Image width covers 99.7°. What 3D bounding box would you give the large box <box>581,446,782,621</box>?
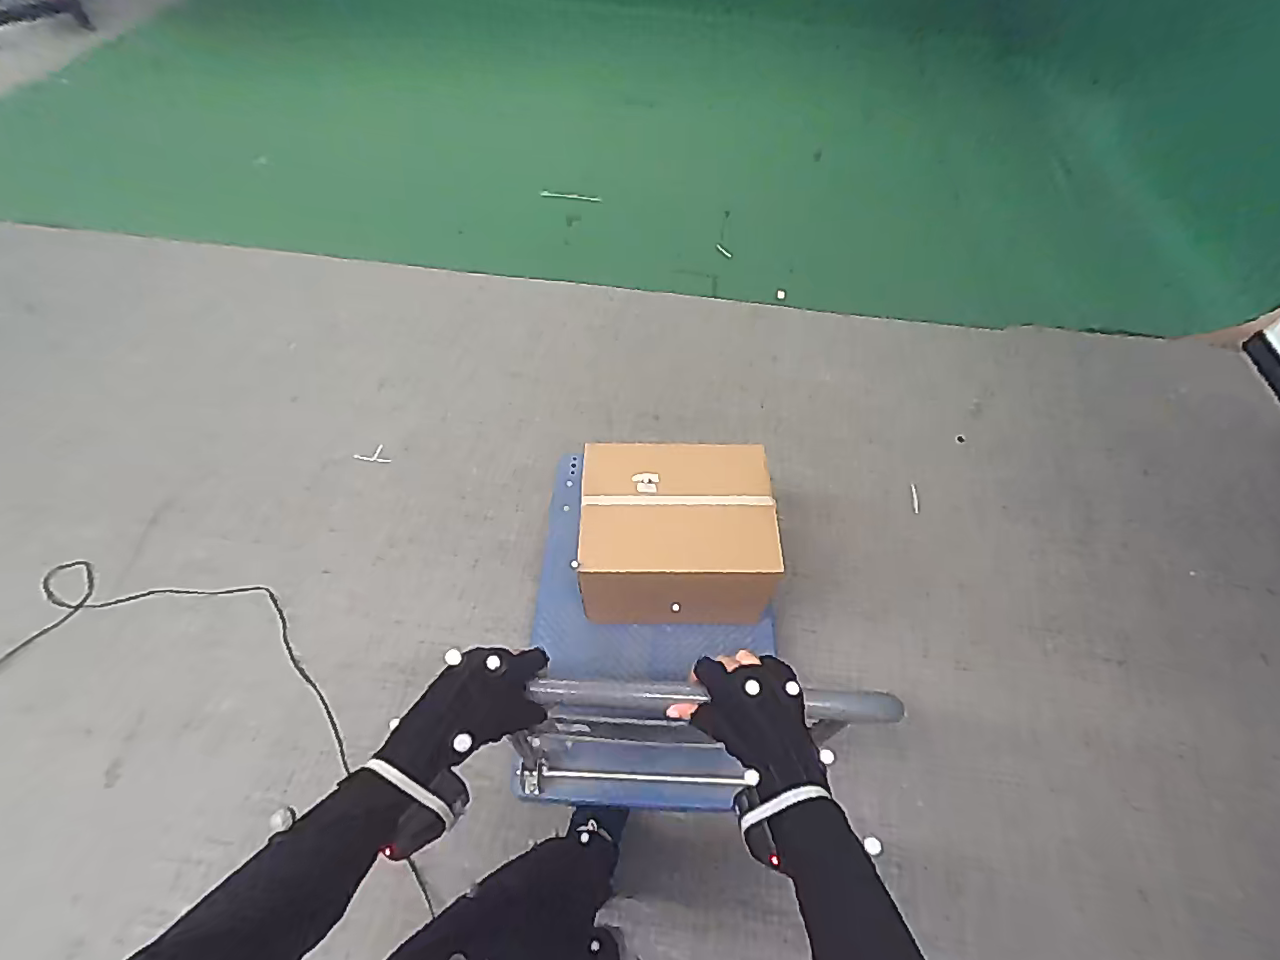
[{"bbox_3d":[0.080,0.133,1.264,0.408,0.320,0.320,0,56,-1],"label":"large box"}]
